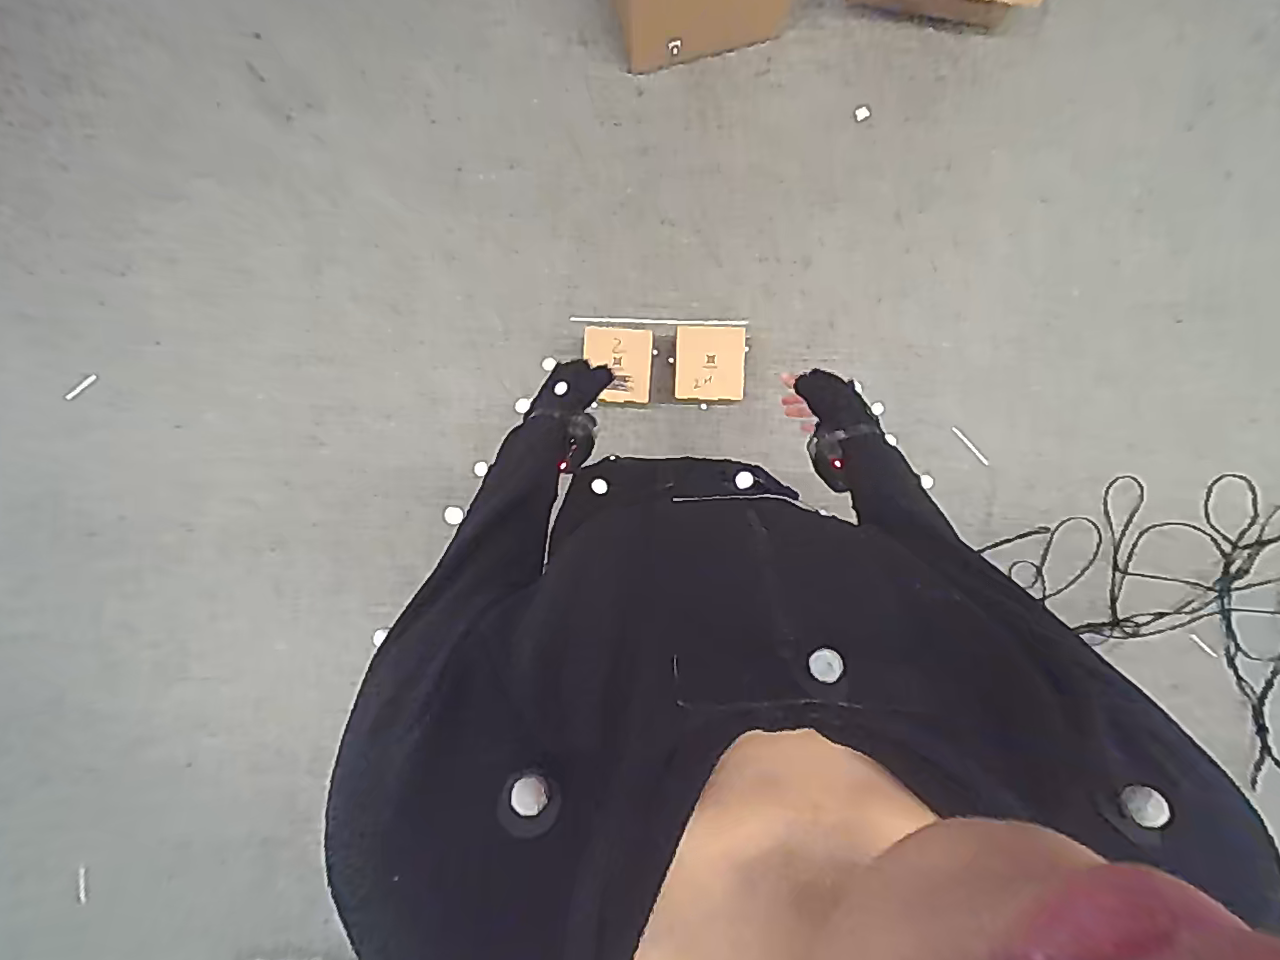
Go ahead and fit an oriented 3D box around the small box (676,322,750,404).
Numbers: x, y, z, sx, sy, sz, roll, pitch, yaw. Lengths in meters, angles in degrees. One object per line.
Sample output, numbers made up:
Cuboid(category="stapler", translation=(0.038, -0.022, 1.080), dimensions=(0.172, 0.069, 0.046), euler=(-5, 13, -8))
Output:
Cuboid(category="small box", translation=(0.177, -0.290, 1.366), dimensions=(0.168, 0.176, 0.179), euler=(1, 94, 1))
